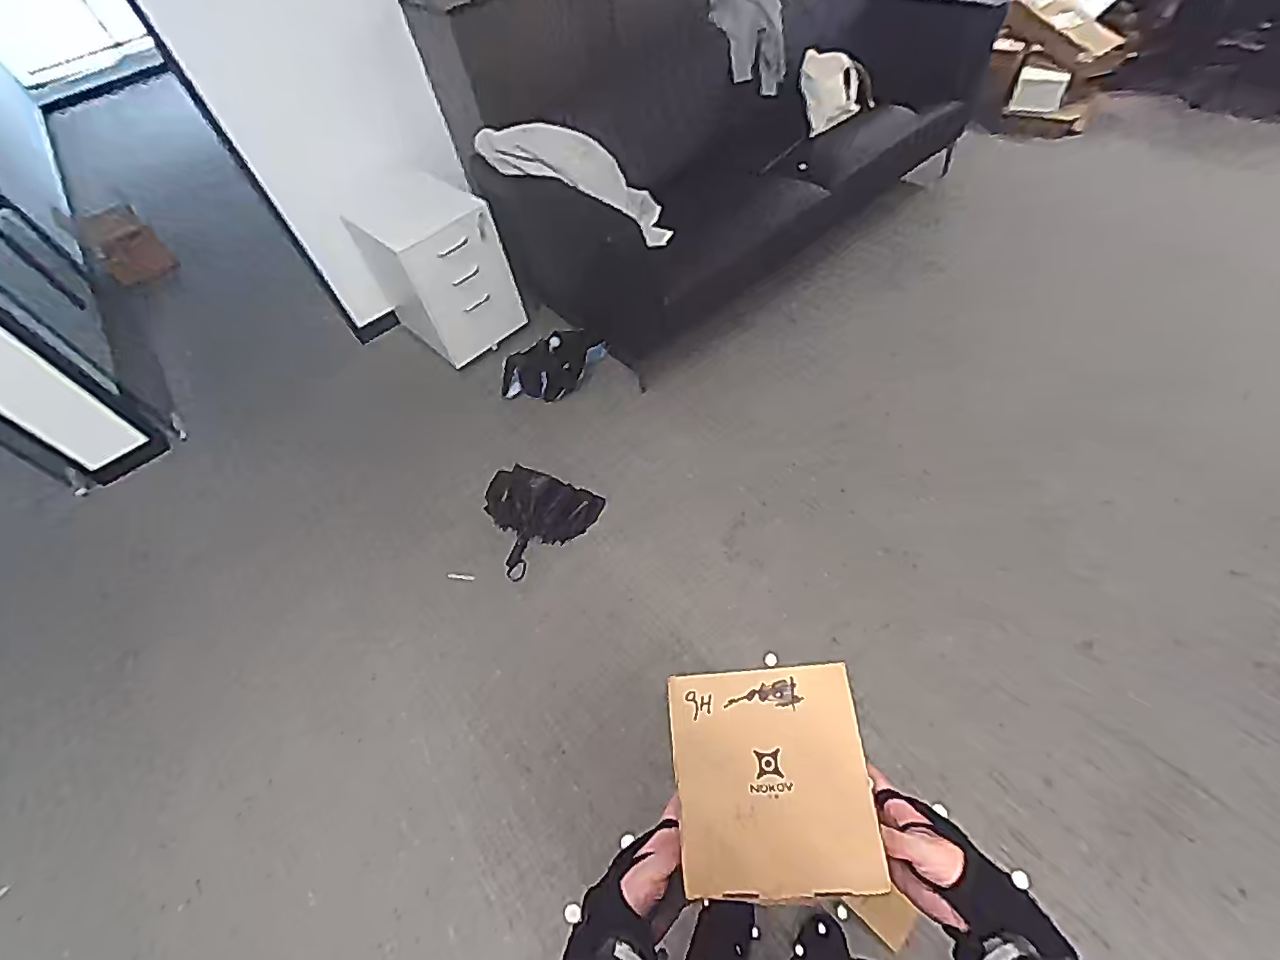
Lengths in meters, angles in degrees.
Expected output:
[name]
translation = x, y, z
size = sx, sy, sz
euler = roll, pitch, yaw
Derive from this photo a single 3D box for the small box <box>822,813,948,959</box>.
[small box]
translation = 0.502, 0.842, 1.136
size = 0.168, 0.176, 0.179
euler = 35, 67, 31
